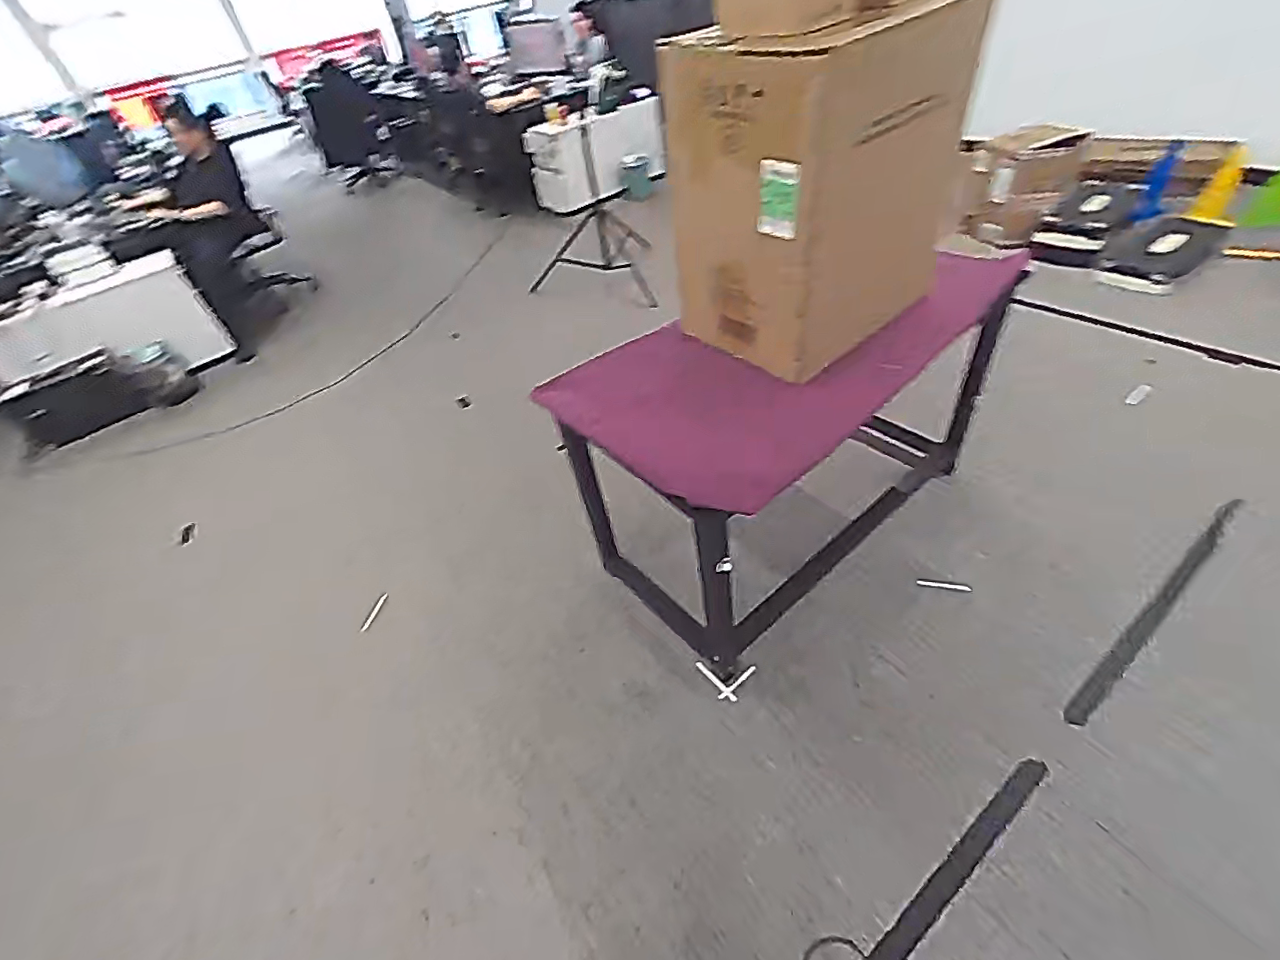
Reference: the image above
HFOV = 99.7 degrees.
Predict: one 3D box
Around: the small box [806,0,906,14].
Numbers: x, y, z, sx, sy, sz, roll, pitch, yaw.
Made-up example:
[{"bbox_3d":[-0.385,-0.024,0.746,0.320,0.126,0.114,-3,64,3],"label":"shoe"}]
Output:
[{"bbox_3d":[0.426,-0.987,0.999,0.168,0.176,0.179,-38,51,-24],"label":"small box"}]
